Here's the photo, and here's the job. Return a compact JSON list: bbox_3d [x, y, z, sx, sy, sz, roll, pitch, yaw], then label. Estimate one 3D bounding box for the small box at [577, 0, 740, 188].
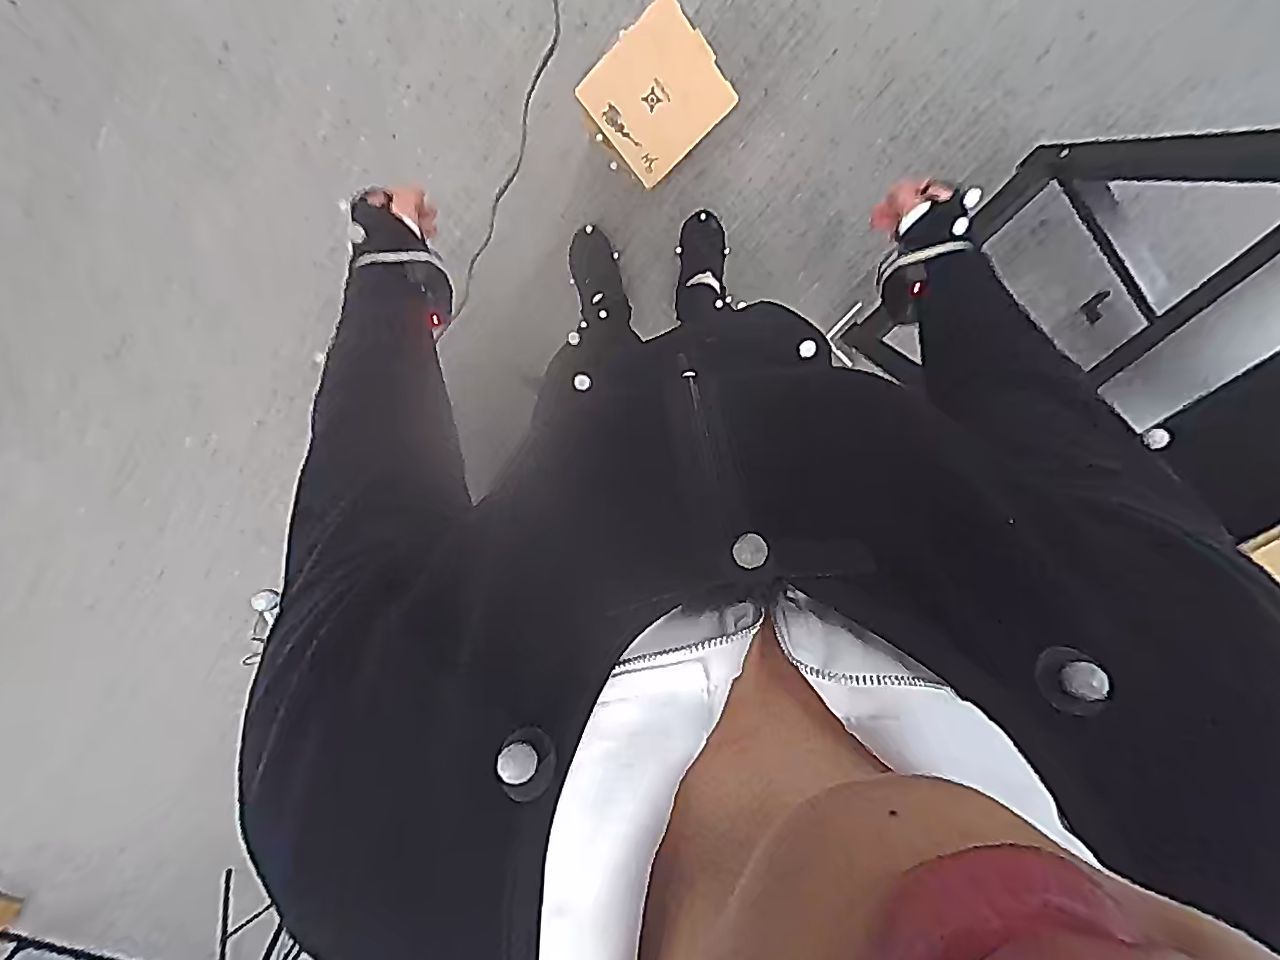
[{"bbox_3d":[0.021,-0.580,0.826,0.179,0.176,0.168,-38,114,17],"label":"small box"}]
